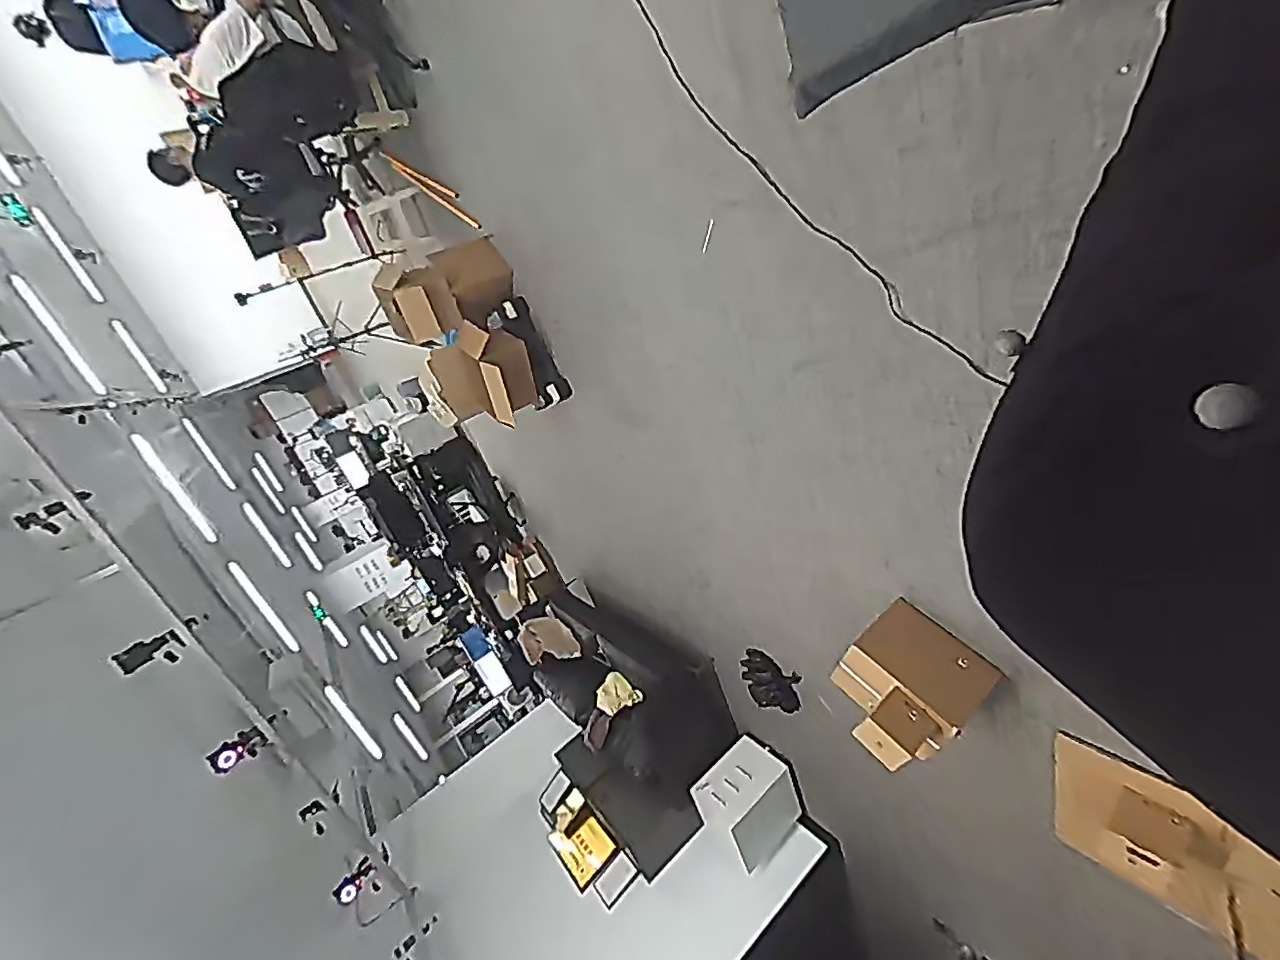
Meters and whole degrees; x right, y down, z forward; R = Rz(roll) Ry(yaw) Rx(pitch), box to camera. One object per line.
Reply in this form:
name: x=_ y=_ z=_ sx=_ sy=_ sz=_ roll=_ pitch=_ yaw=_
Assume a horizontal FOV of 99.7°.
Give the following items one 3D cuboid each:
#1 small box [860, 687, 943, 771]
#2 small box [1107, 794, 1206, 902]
small box: x=0.888 y=0.842 z=1.835 sx=0.168 sy=0.176 sz=0.179 roll=41 pitch=148 yaw=30
small box: x=1.538 y=1.086 z=1.611 sx=0.168 sy=0.176 sz=0.179 roll=23 pitch=139 yaw=50
